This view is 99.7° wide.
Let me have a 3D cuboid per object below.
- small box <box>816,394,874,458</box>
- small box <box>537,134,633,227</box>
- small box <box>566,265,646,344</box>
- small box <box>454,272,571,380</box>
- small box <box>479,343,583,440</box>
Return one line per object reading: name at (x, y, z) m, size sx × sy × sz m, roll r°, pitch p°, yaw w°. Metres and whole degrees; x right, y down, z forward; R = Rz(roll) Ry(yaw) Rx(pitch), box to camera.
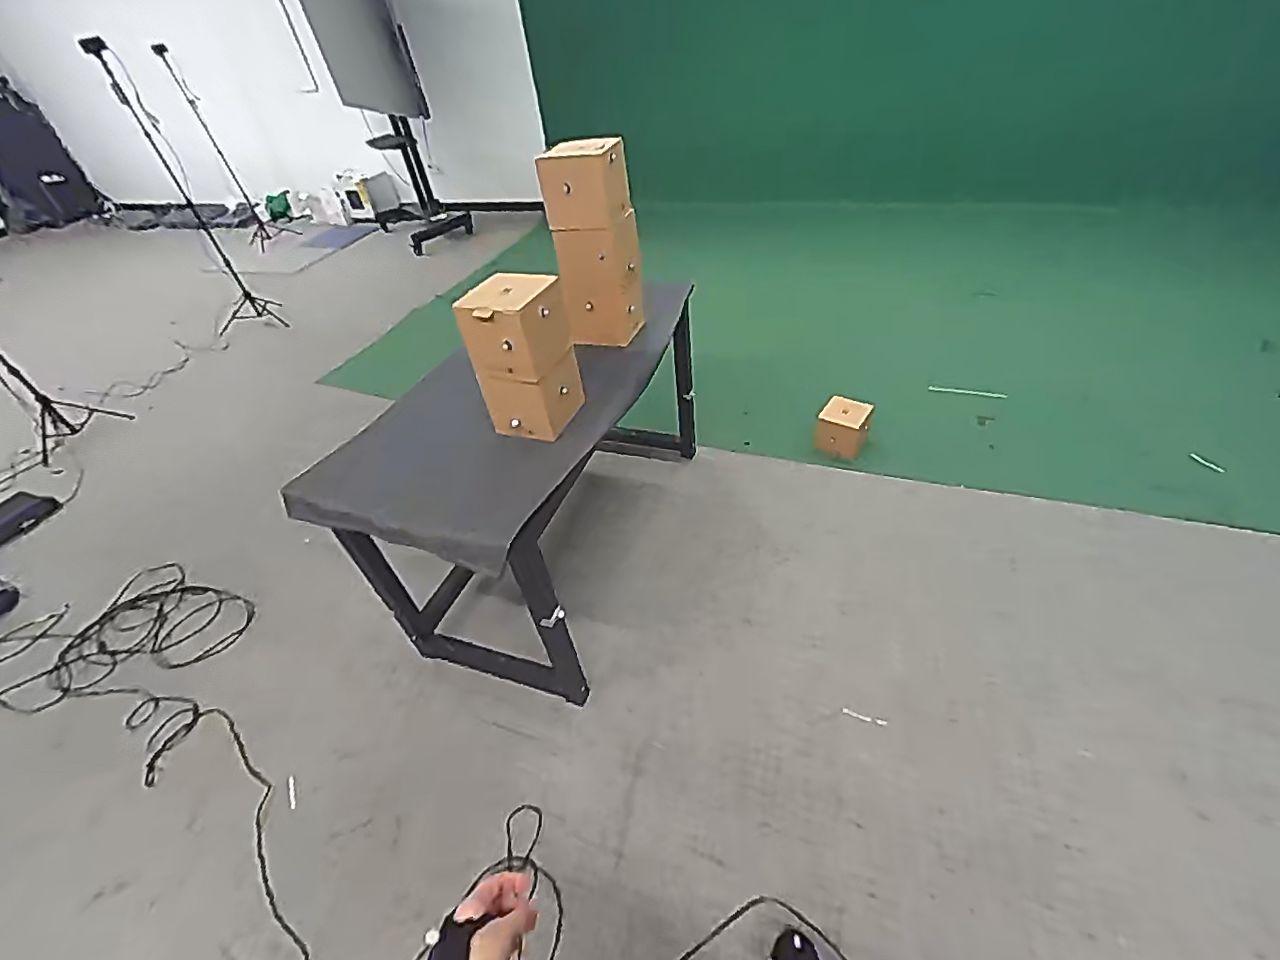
small box at (0.833, -0.218, 2.207) m, size 0.168 × 0.176 × 0.179 m, roll 25°, pitch 51°, yaw 29°
small box at (-0.130, -0.753, 1.367) m, size 0.179 × 0.176 × 0.168 m, roll 7°, pitch 45°, yaw 18°
small box at (-0.091, -0.514, 1.589) m, size 0.179 × 0.176 × 0.168 m, roll 9°, pitch 45°, yaw 20°
small box at (-0.265, -0.337, 1.182) m, size 0.168 × 0.176 × 0.179 m, roll 12°, pitch 45°, yaw 20°
small box at (-0.249, -0.220, 1.294) m, size 0.168 × 0.176 × 0.179 m, roll 10°, pitch 46°, yaw 20°
